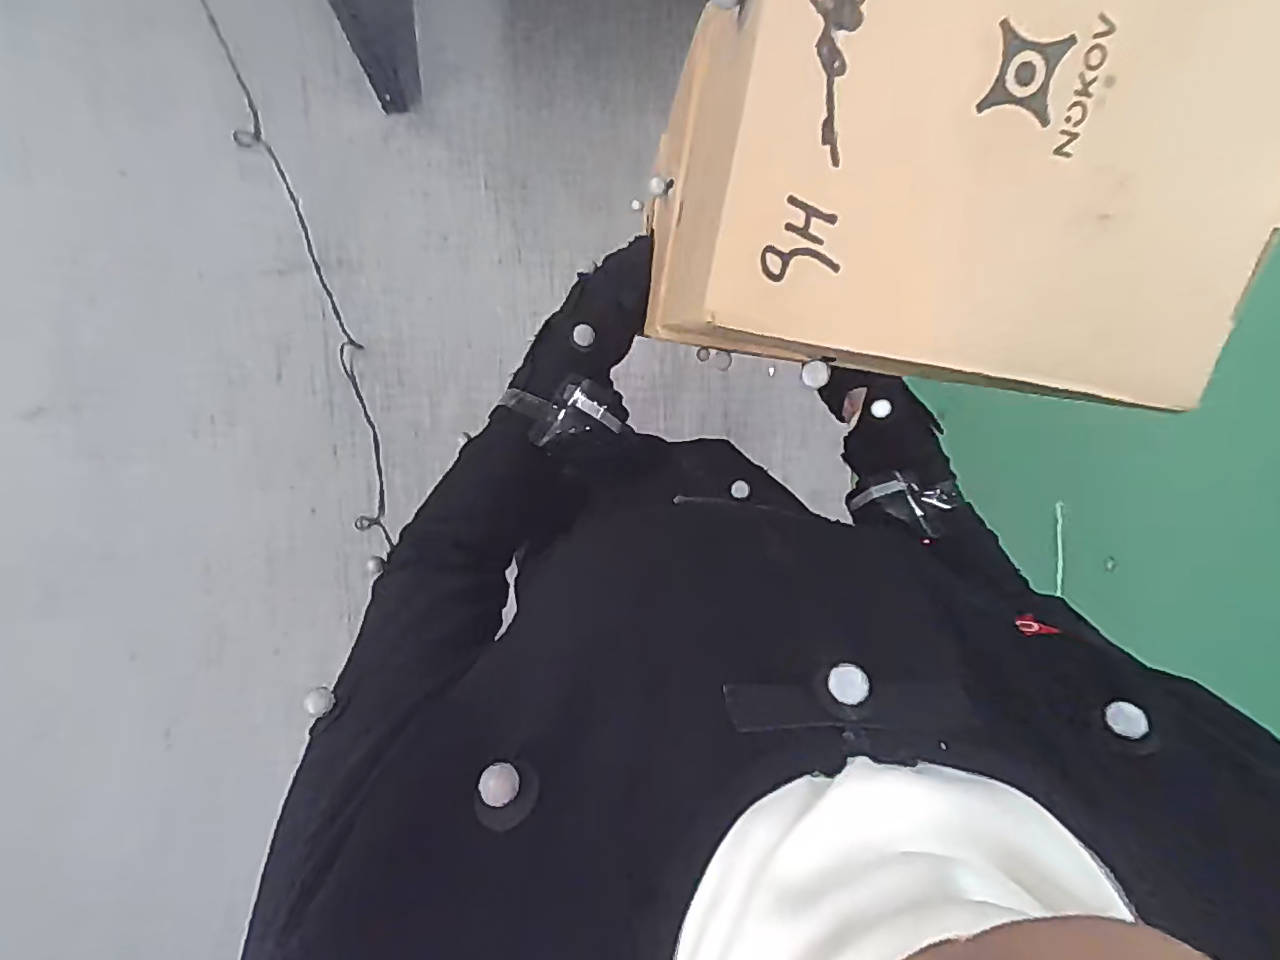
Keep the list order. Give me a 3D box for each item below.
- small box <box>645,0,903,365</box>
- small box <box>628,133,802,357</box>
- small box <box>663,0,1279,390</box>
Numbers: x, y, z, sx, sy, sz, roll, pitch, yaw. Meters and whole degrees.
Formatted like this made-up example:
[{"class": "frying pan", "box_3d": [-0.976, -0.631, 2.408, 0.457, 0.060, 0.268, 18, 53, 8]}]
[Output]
[{"class": "small box", "box_3d": [0.098, -0.188, 0.393, 0.168, 0.176, 0.179, 8, 105, -5]}, {"class": "small box", "box_3d": [0.086, -0.228, 0.566, 0.179, 0.176, 0.168, 8, 105, -7]}, {"class": "small box", "box_3d": [0.115, -0.143, 0.237, 0.179, 0.176, 0.168, 9, 104, -5]}]
